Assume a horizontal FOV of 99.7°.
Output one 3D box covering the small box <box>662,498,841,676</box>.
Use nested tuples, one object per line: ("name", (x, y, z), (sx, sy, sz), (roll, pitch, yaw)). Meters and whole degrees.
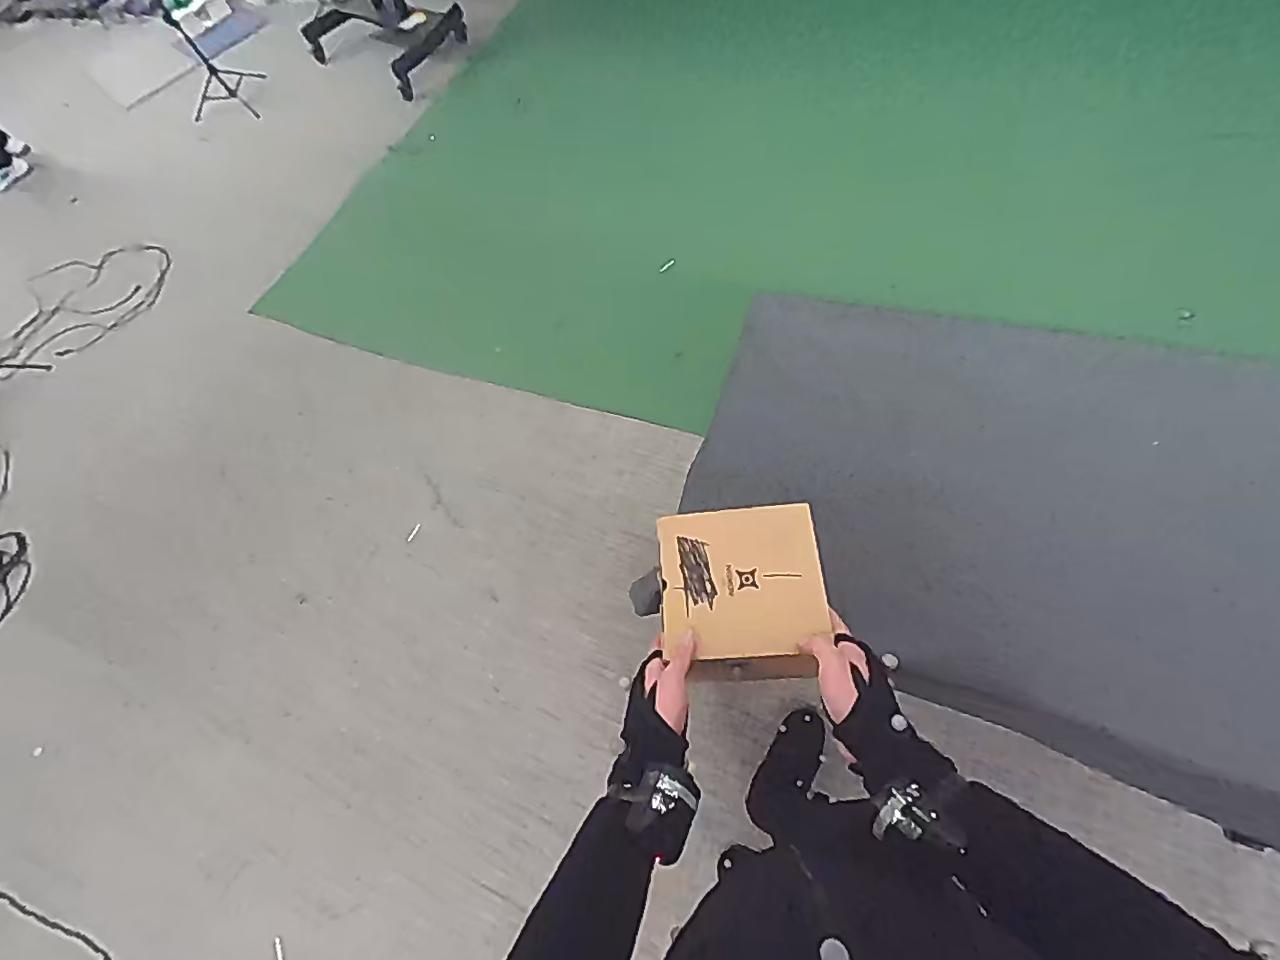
("small box", (0.124, 0.135, 0.645), (0.179, 0.176, 0.168), (-5, 63, 7))
